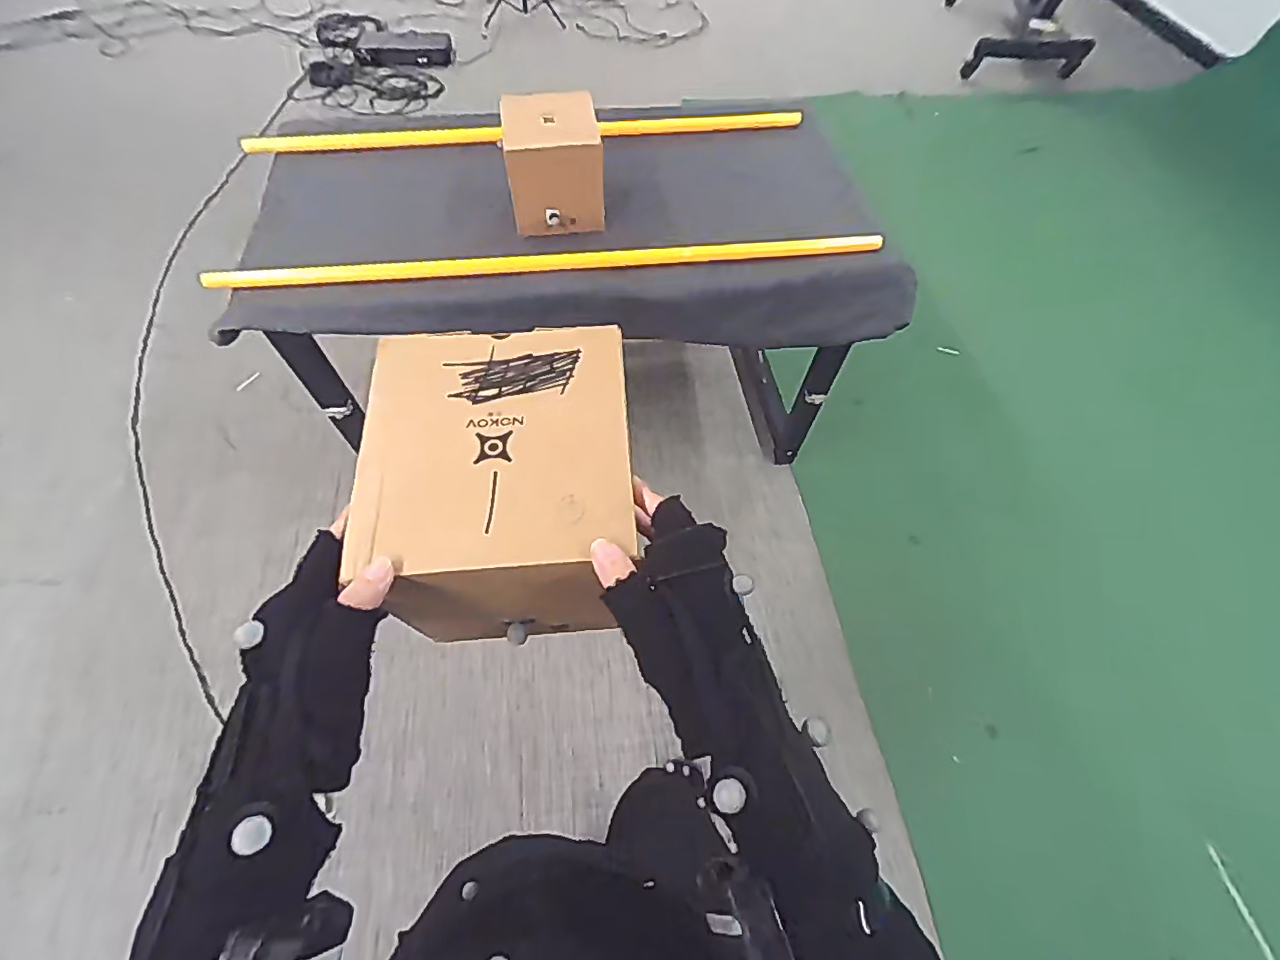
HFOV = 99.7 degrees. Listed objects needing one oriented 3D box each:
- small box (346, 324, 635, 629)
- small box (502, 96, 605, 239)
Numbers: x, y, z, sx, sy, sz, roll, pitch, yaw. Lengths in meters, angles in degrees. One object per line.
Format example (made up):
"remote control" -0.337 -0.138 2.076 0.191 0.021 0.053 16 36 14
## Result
"small box" -0.092 0.005 0.417 0.168 0.176 0.179 -4 63 -3
"small box" -0.159 -0.584 1.016 0.168 0.176 0.179 -8 61 -5
